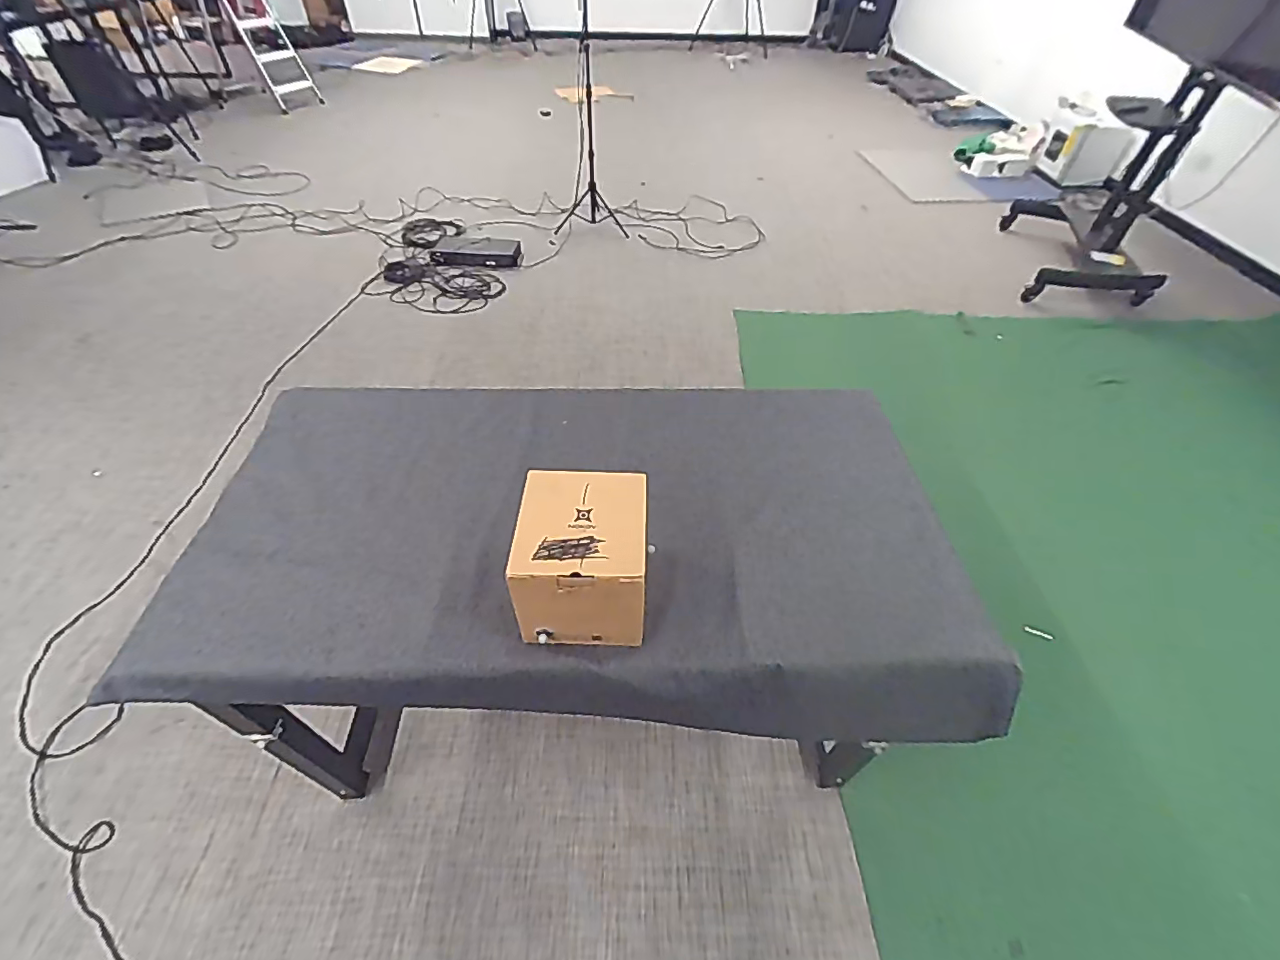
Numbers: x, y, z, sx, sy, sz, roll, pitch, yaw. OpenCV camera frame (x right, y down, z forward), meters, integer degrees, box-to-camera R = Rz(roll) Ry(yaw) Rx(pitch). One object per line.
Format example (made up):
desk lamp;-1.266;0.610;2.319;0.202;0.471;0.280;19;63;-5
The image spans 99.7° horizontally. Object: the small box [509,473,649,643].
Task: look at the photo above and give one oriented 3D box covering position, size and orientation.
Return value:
small box;-0.074;0.112;0.759;0.168;0.176;0.179;3;46;0
